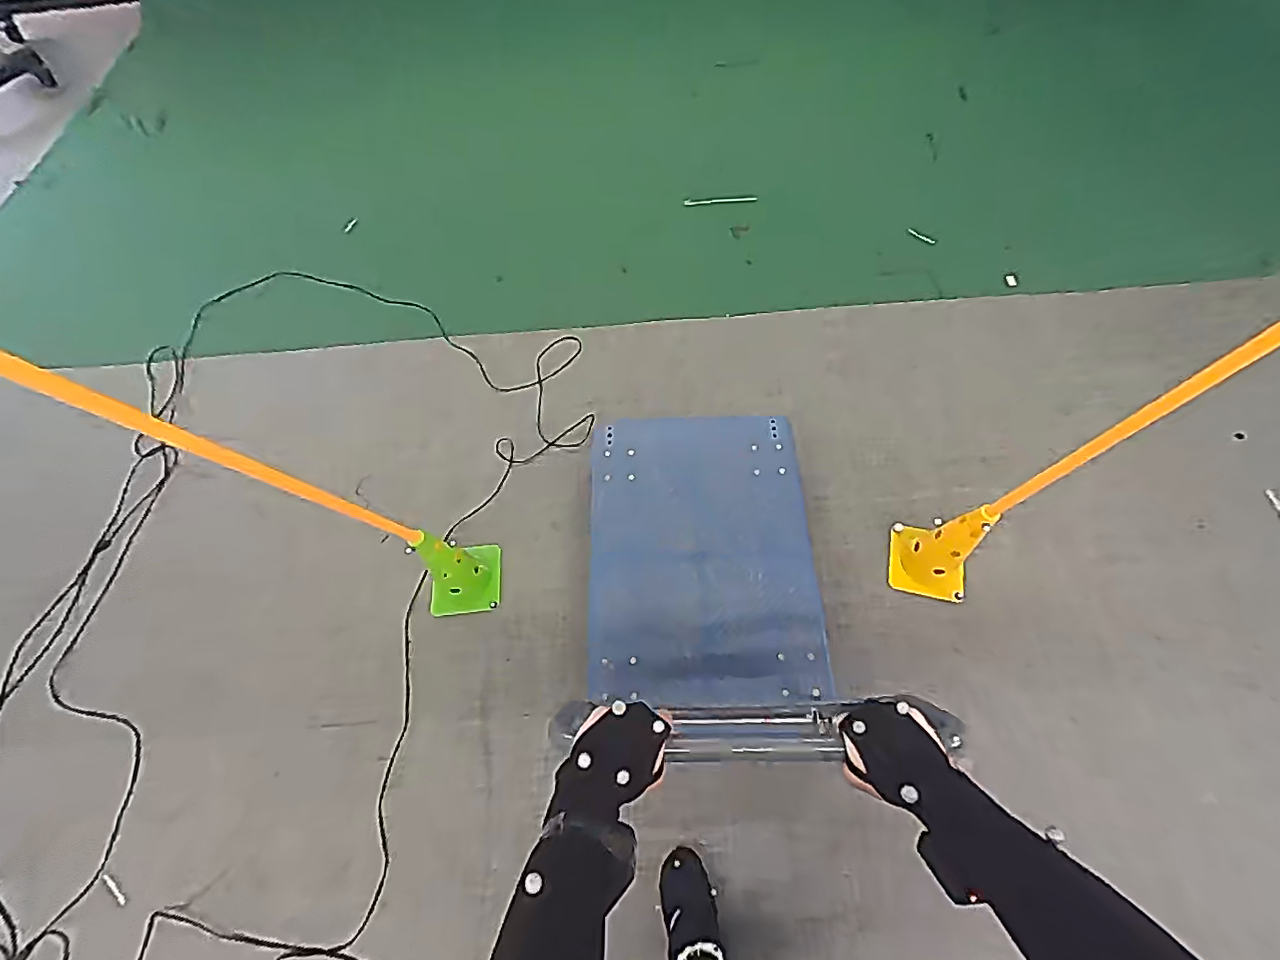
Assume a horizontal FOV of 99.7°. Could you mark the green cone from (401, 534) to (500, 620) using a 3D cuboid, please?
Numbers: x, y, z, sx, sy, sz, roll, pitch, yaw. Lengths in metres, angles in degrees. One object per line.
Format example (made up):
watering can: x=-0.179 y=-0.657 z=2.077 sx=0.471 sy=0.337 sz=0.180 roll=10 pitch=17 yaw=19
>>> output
green cone: x=-0.525 y=0.223 z=1.432 sx=0.202 sy=0.368 sz=0.200 roll=-8 pitch=62 yaw=2
